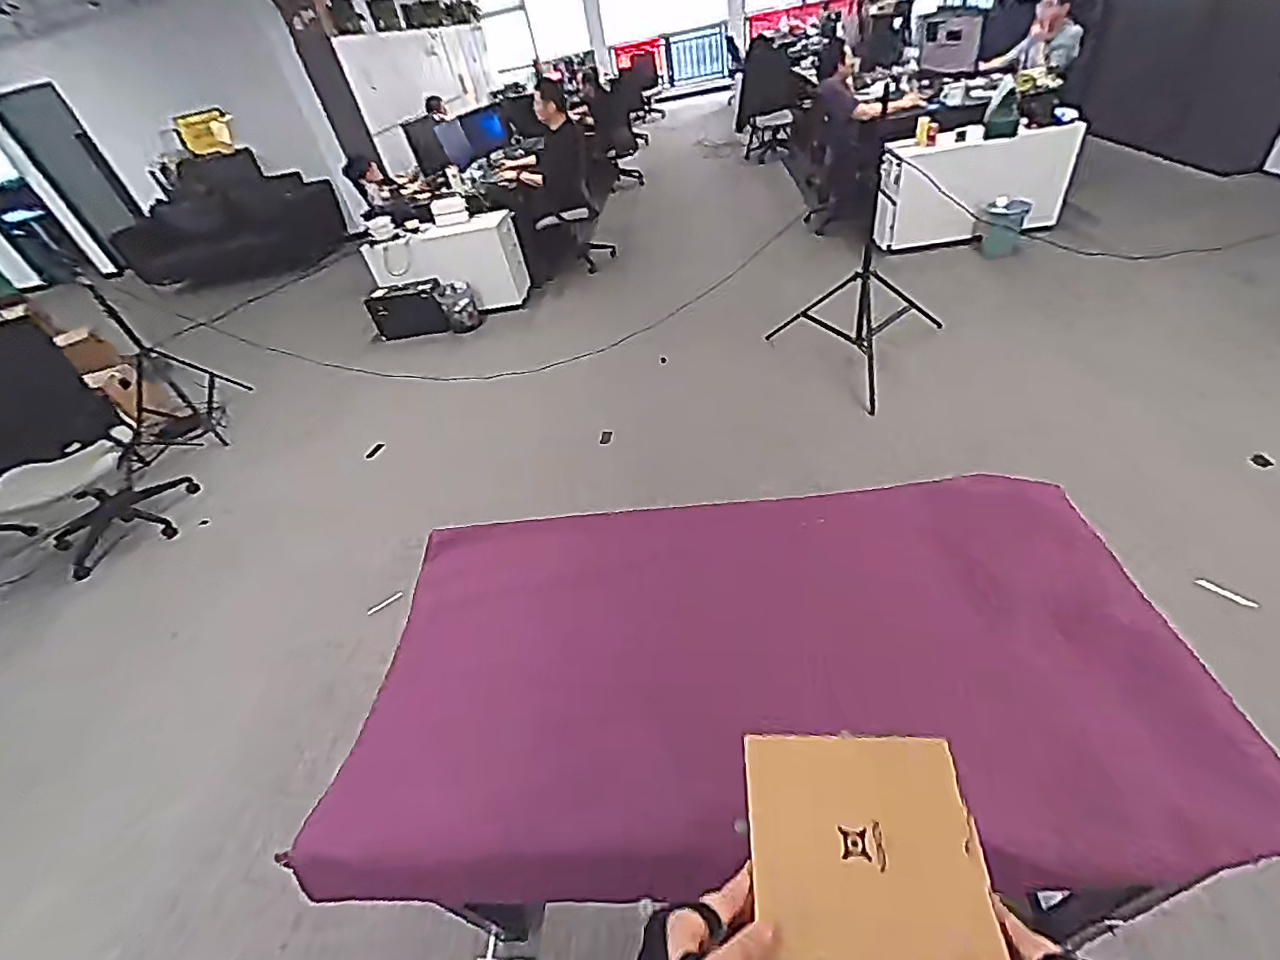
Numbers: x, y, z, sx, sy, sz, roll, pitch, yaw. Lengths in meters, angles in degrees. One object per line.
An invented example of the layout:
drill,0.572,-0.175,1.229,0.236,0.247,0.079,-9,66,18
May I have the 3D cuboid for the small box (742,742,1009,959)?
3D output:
small box,0.188,0.351,0.484,0.179,0.176,0.168,-4,45,9
